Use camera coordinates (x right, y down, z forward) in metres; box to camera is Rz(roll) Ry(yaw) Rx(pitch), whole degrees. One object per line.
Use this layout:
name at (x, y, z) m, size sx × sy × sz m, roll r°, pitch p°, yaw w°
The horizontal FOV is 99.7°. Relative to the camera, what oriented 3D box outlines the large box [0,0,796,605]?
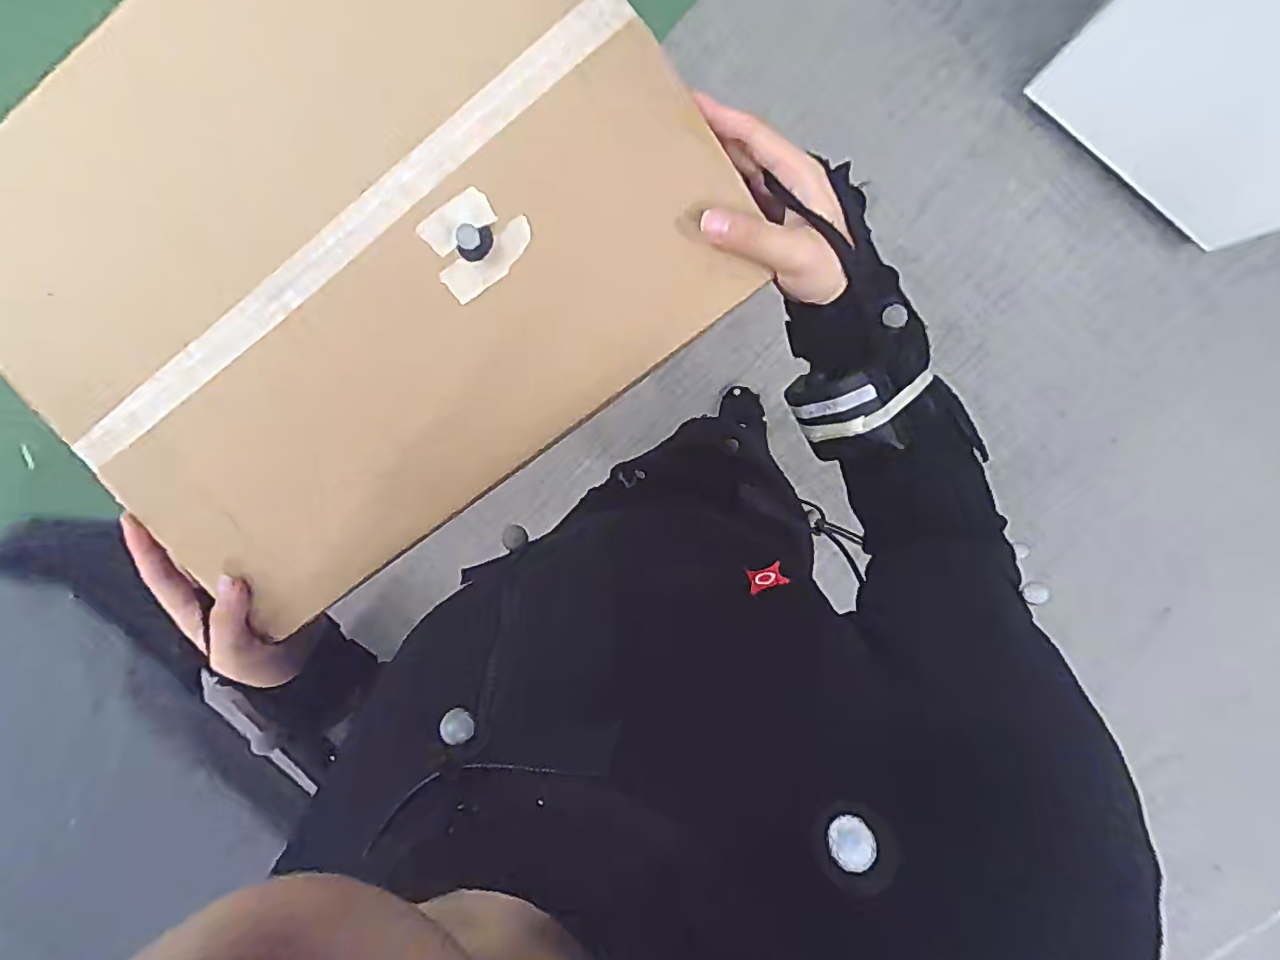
large box at (-0.154, -0.175, 0.457) m, size 0.408 × 0.320 × 0.320 m, roll -35°, pitch 100°, yaw 6°
